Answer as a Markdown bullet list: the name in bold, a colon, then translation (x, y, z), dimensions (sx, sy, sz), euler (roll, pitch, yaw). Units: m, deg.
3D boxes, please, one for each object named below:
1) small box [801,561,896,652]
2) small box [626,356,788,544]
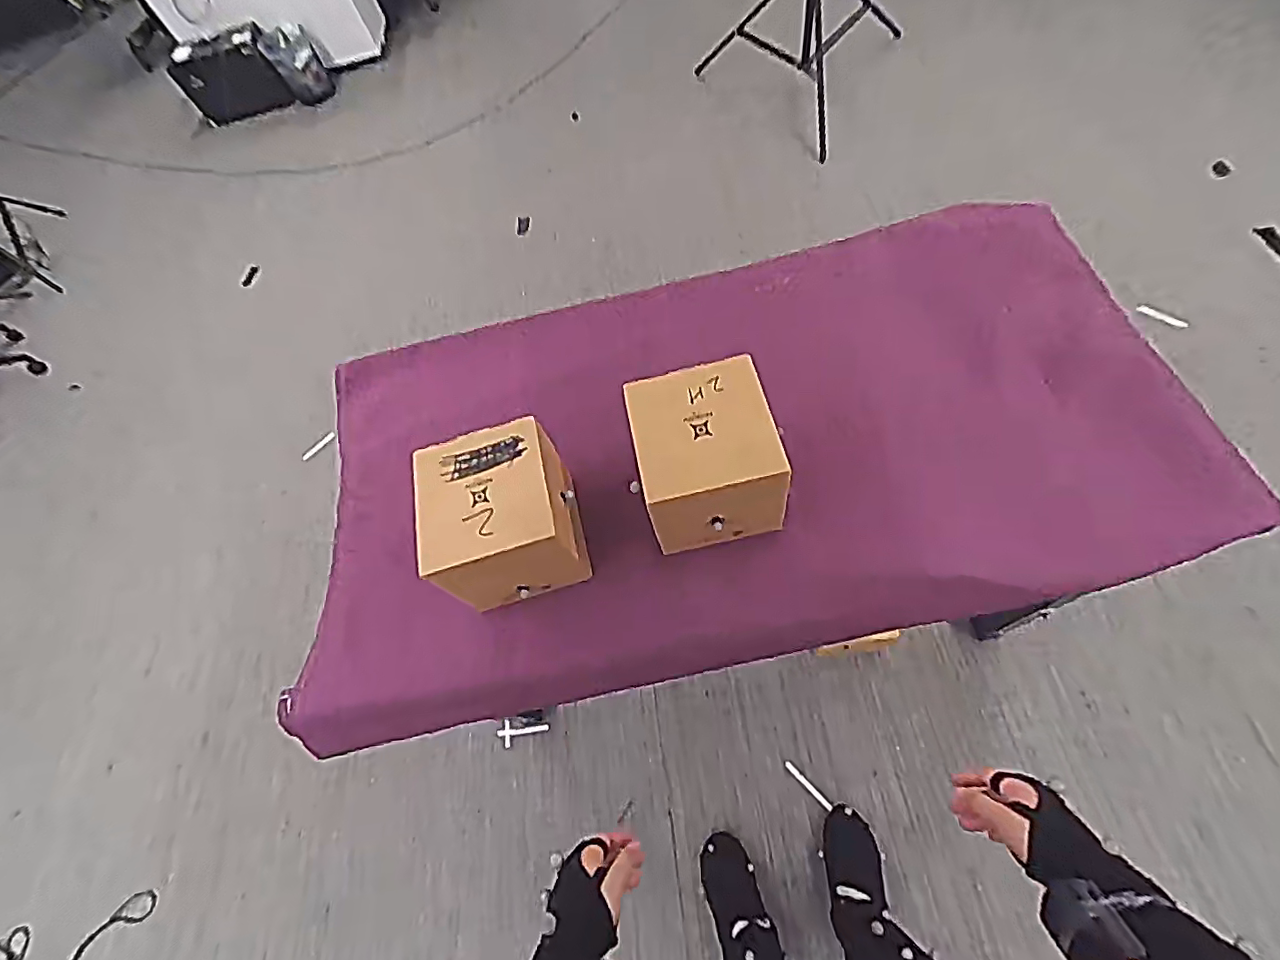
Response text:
- **small box**: translation (0.489, 0.310, 1.293), dimensions (0.168, 0.176, 0.179), euler (-8, 62, 7)
- **small box**: translation (0.087, -0.028, 0.709), dimensions (0.168, 0.176, 0.179), euler (-12, 60, 3)
